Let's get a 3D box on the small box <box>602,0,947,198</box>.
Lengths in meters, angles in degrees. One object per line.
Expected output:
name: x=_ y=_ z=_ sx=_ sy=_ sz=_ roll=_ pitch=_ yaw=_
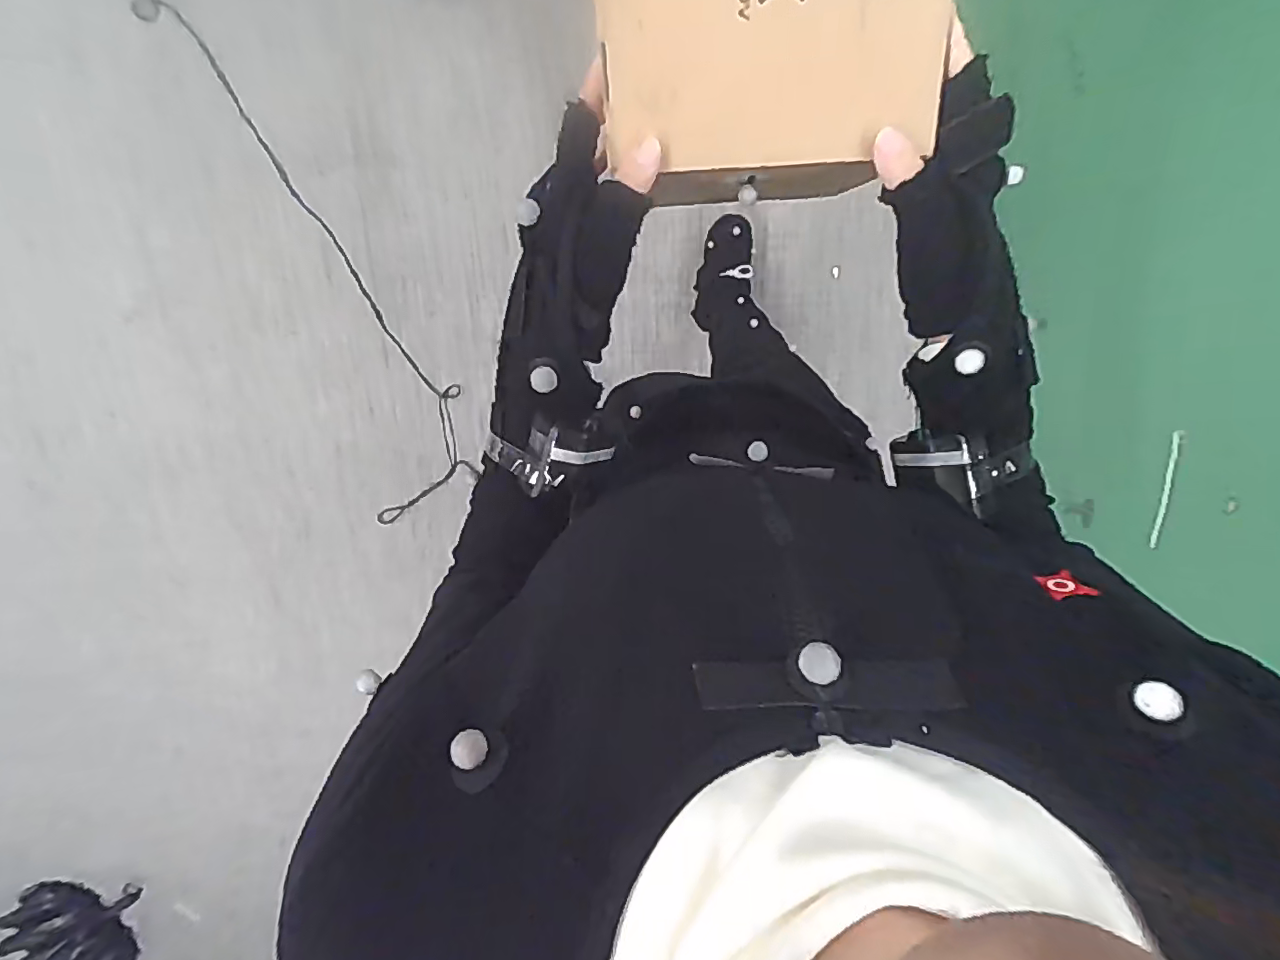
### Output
small box: x=0.067 y=-0.282 z=0.342 sx=0.179 sy=0.176 sz=0.168 roll=-4 pitch=113 yaw=0
